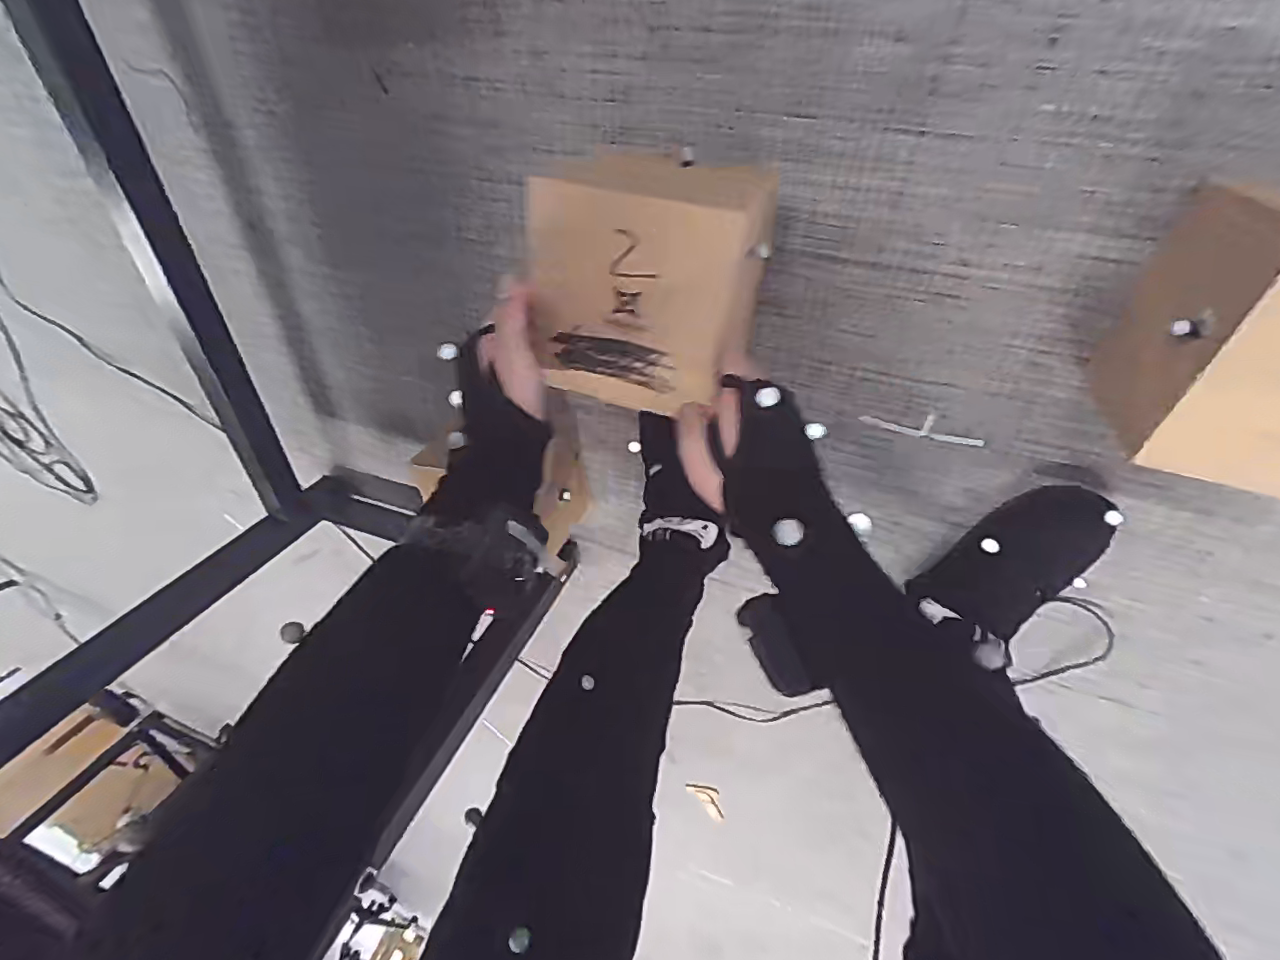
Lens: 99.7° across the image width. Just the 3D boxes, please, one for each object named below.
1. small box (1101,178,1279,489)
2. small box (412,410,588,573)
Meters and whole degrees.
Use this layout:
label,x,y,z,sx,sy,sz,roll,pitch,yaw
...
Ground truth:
label,x,y,z,sx,sy,sz,roll,pitch,yaw
small box,0.489,-0.105,0.393,0.168,0.176,0.179,17,129,14
small box,-0.187,0.008,0.792,0.179,0.176,0.168,7,126,21
